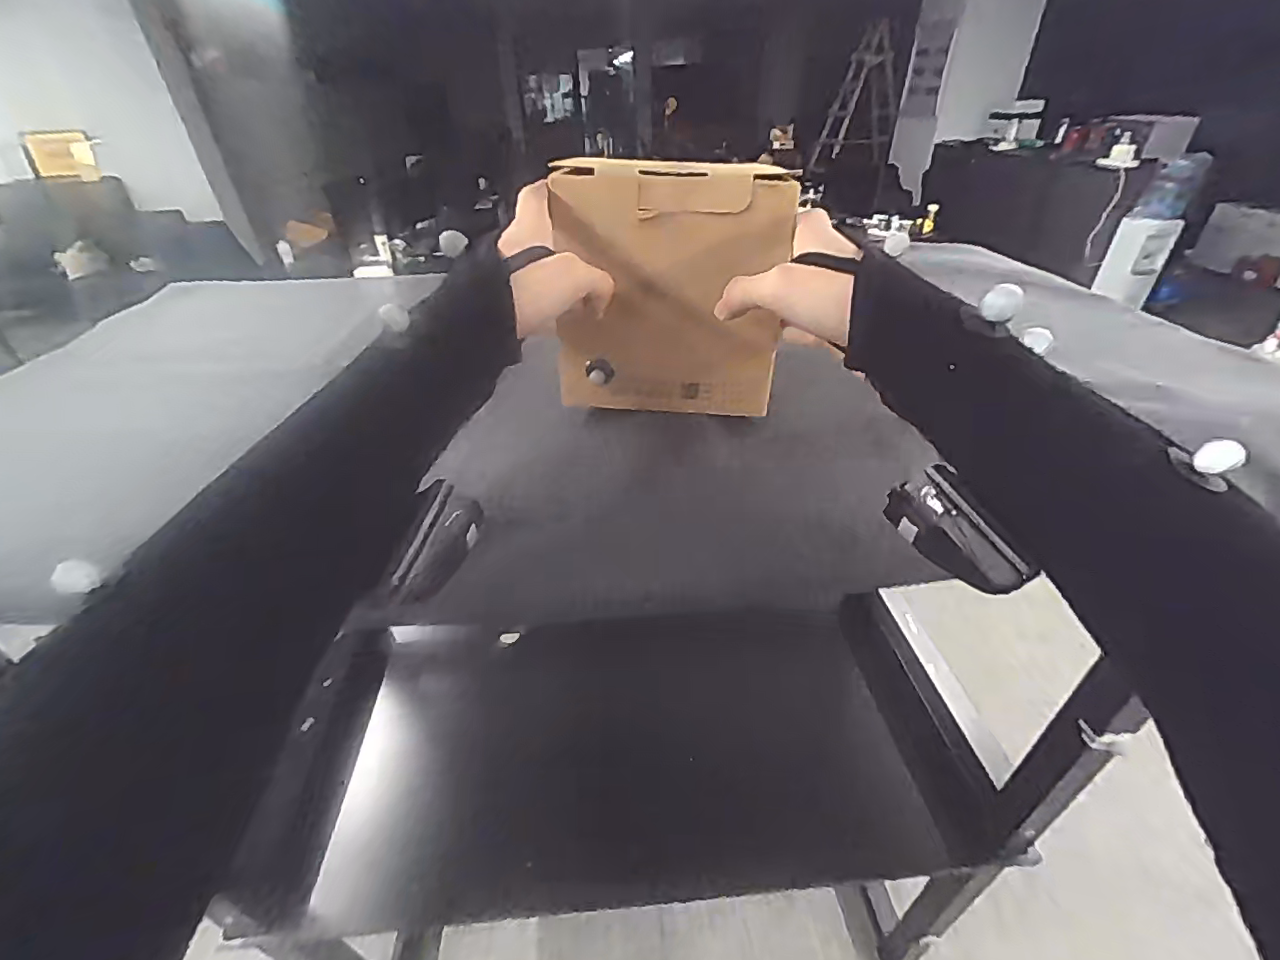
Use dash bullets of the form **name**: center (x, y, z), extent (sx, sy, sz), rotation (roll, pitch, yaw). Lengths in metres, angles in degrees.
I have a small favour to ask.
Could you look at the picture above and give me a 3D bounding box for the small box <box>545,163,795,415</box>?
- **small box**: center (0.025, -0.166, 0.458), extent (0.168, 0.176, 0.179), rotation (5, 32, 3)
